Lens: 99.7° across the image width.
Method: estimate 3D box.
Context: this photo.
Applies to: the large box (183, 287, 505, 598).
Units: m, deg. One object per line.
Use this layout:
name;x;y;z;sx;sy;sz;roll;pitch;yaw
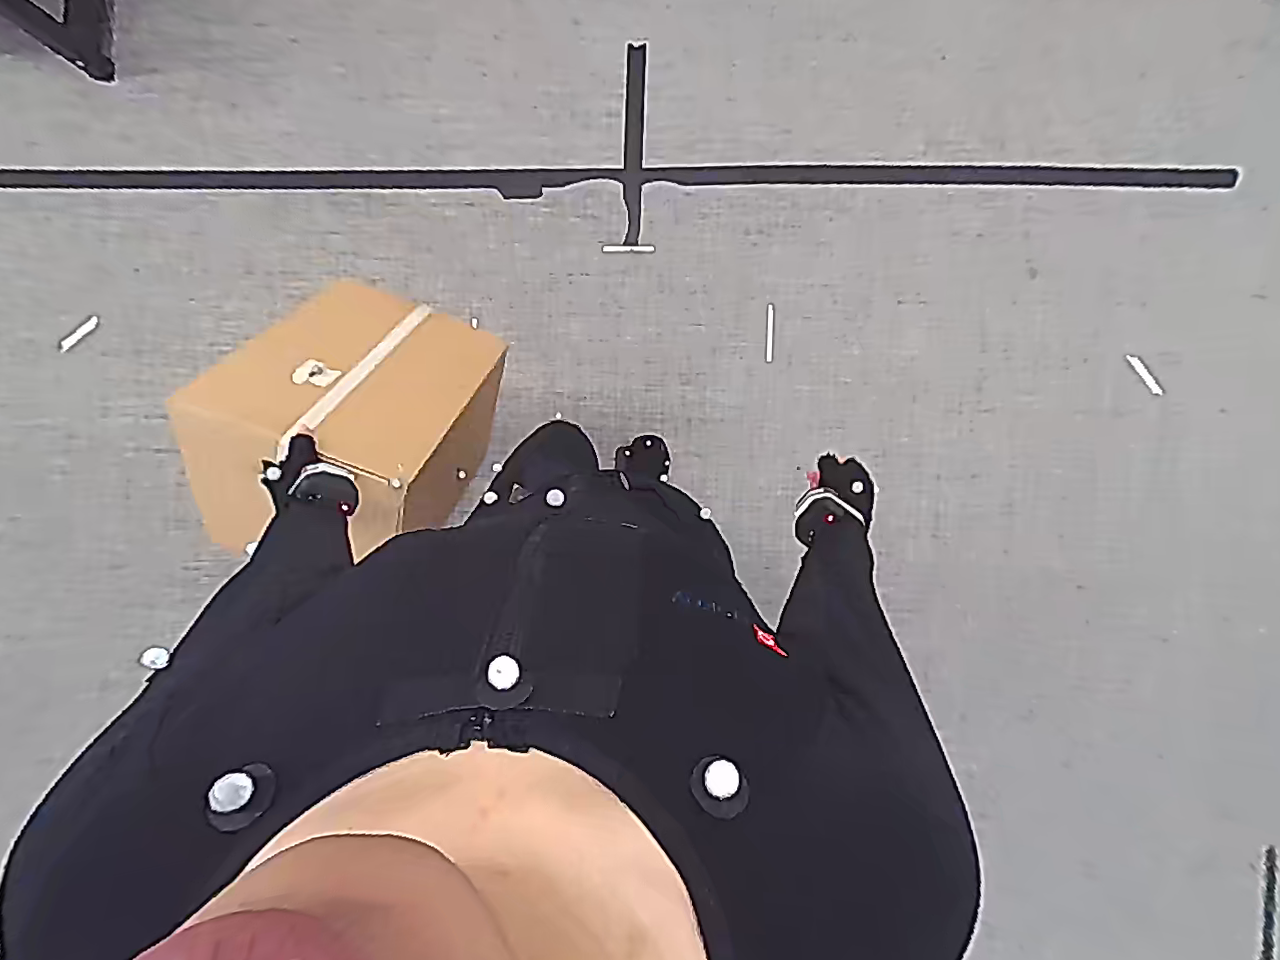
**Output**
large box;-0.474;-0.072;0.963;0.320;0.408;0.320;20;133;-5
